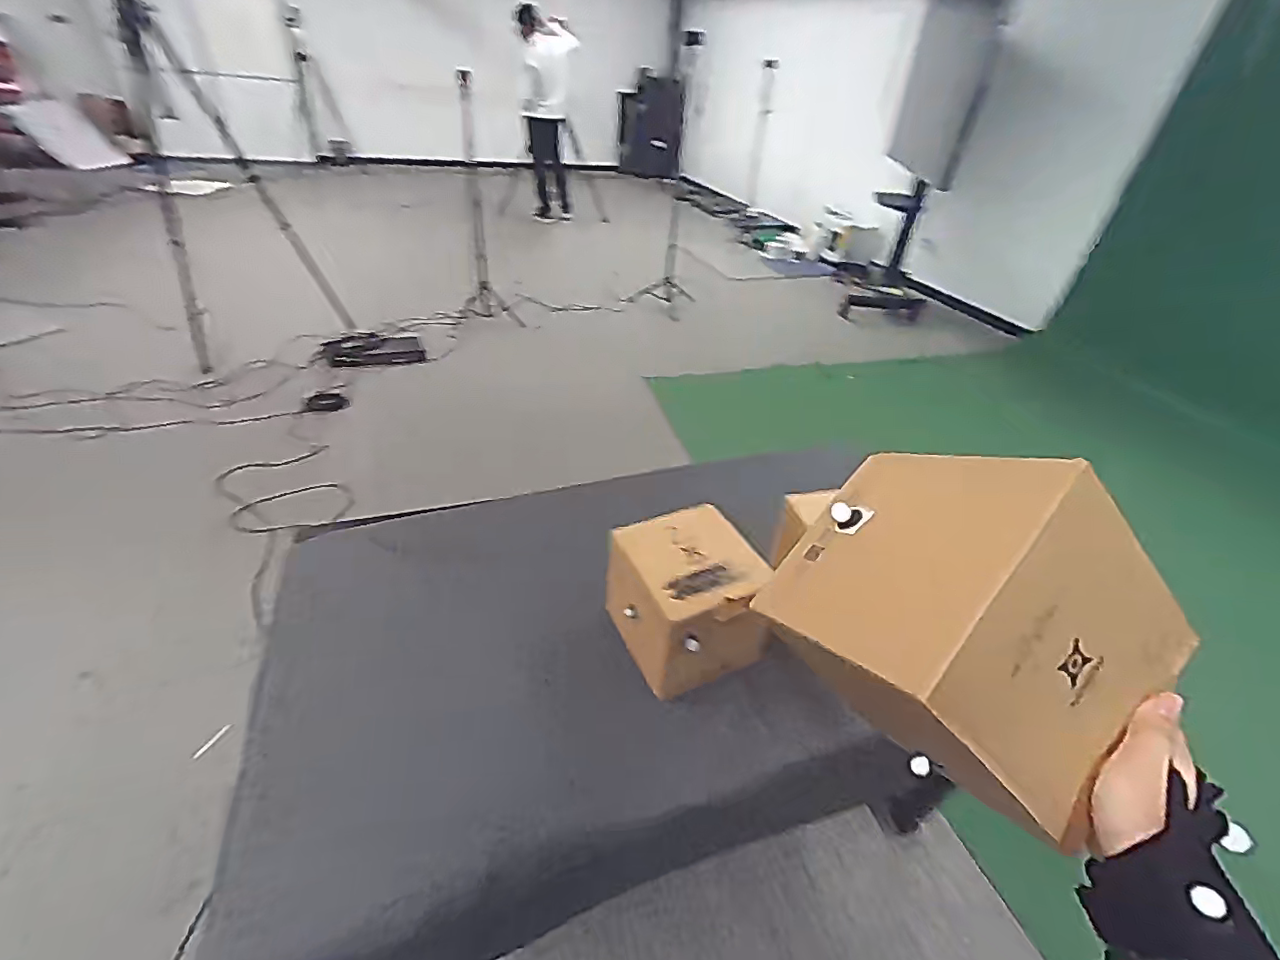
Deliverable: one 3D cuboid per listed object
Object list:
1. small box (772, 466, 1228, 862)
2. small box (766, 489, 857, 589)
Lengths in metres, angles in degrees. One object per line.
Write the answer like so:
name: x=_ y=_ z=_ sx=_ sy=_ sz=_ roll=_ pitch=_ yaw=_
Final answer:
small box: x=0.232 y=0.101 z=0.378 sx=0.168 sy=0.179 sz=0.176 roll=-48 pitch=16 yaw=-10
small box: x=0.316 y=0.133 z=0.842 sx=0.168 sy=0.176 sz=0.179 roll=-5 pitch=38 yaw=-14
